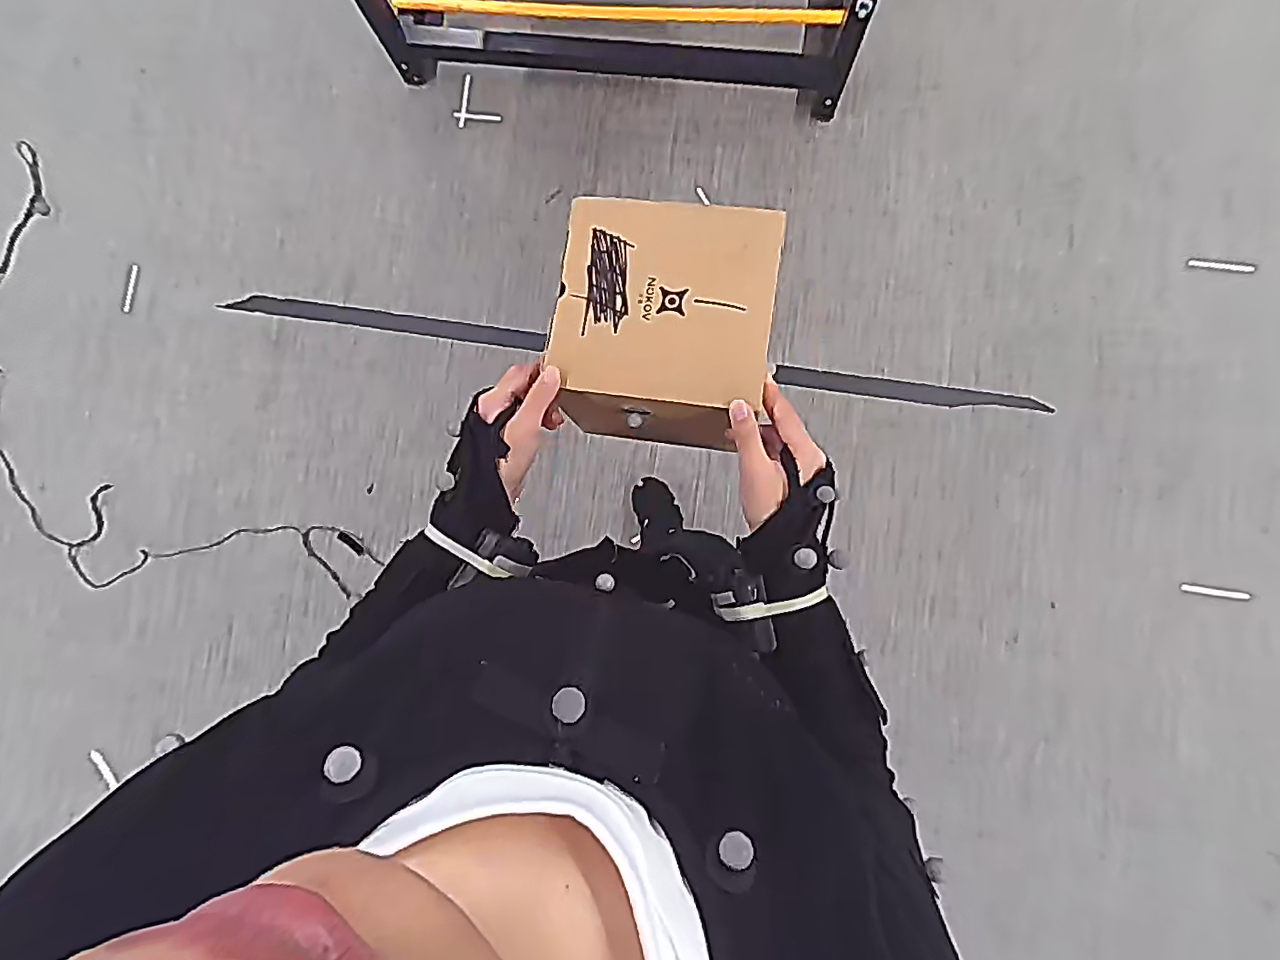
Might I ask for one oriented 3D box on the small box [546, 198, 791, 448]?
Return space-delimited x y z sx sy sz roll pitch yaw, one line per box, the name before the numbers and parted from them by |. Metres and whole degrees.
small box | 0.031 -0.132 0.505 0.179 0.176 0.168 8 83 7
